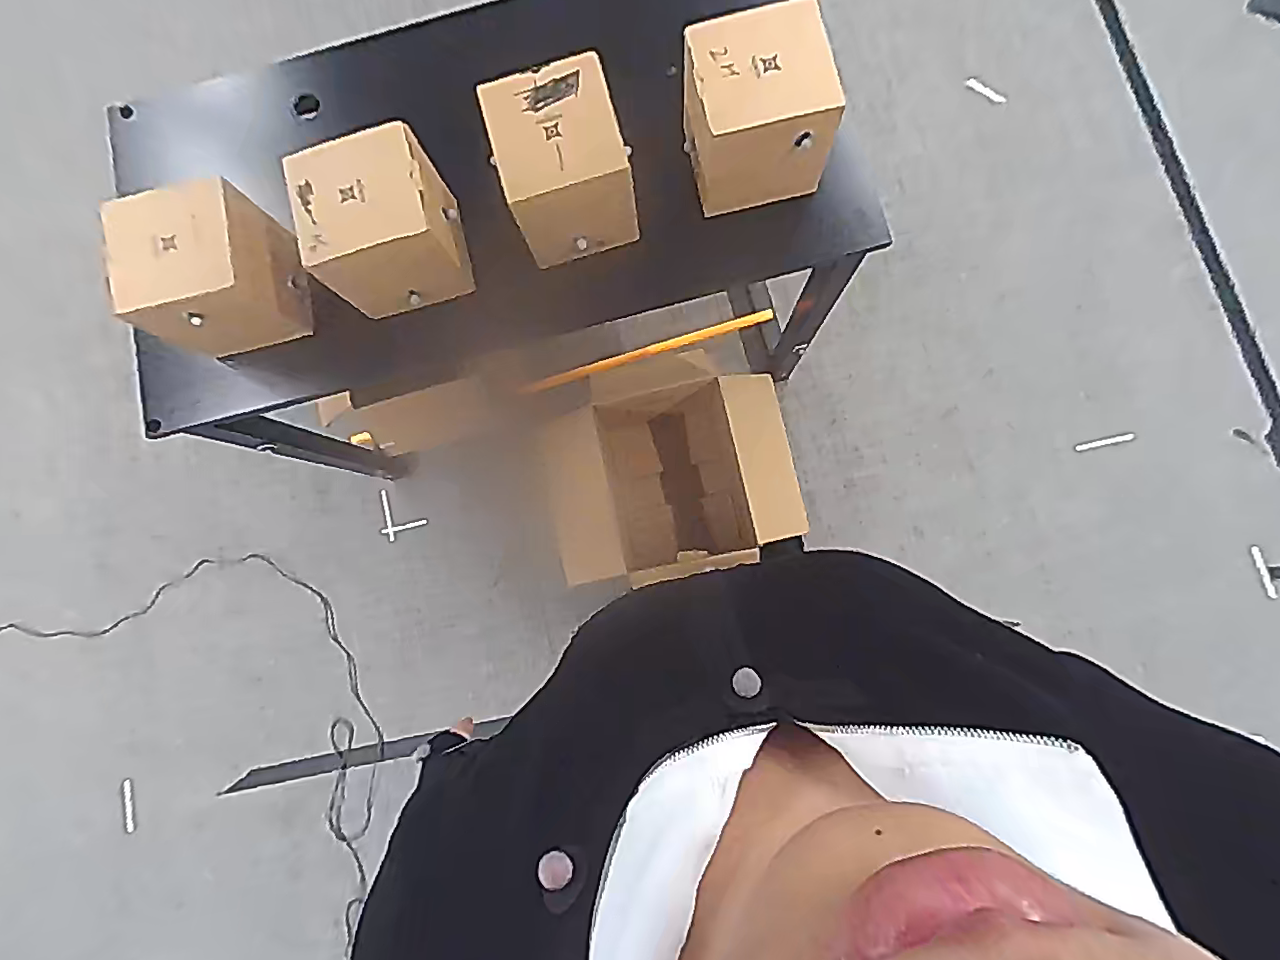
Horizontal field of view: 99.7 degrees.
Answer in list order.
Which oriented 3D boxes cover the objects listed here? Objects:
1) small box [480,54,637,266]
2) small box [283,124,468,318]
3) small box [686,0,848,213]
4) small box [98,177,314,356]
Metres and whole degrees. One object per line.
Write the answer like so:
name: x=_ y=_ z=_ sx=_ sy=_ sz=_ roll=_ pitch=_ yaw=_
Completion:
small box: x=-0.106 y=-0.444 z=0.774 sx=0.168 sy=0.176 sz=0.179 roll=-16 pitch=82 yaw=2
small box: x=-0.365 y=-0.360 z=0.781 sx=0.179 sy=0.176 sz=0.168 roll=-16 pitch=82 yaw=1
small box: x=0.164 y=-0.514 z=0.762 sx=0.179 sy=0.176 sz=0.168 roll=-12 pitch=81 yaw=3
small box: x=-0.621 y=-0.298 z=0.791 sx=0.179 sy=0.176 sz=0.168 roll=-14 pitch=83 yaw=1
